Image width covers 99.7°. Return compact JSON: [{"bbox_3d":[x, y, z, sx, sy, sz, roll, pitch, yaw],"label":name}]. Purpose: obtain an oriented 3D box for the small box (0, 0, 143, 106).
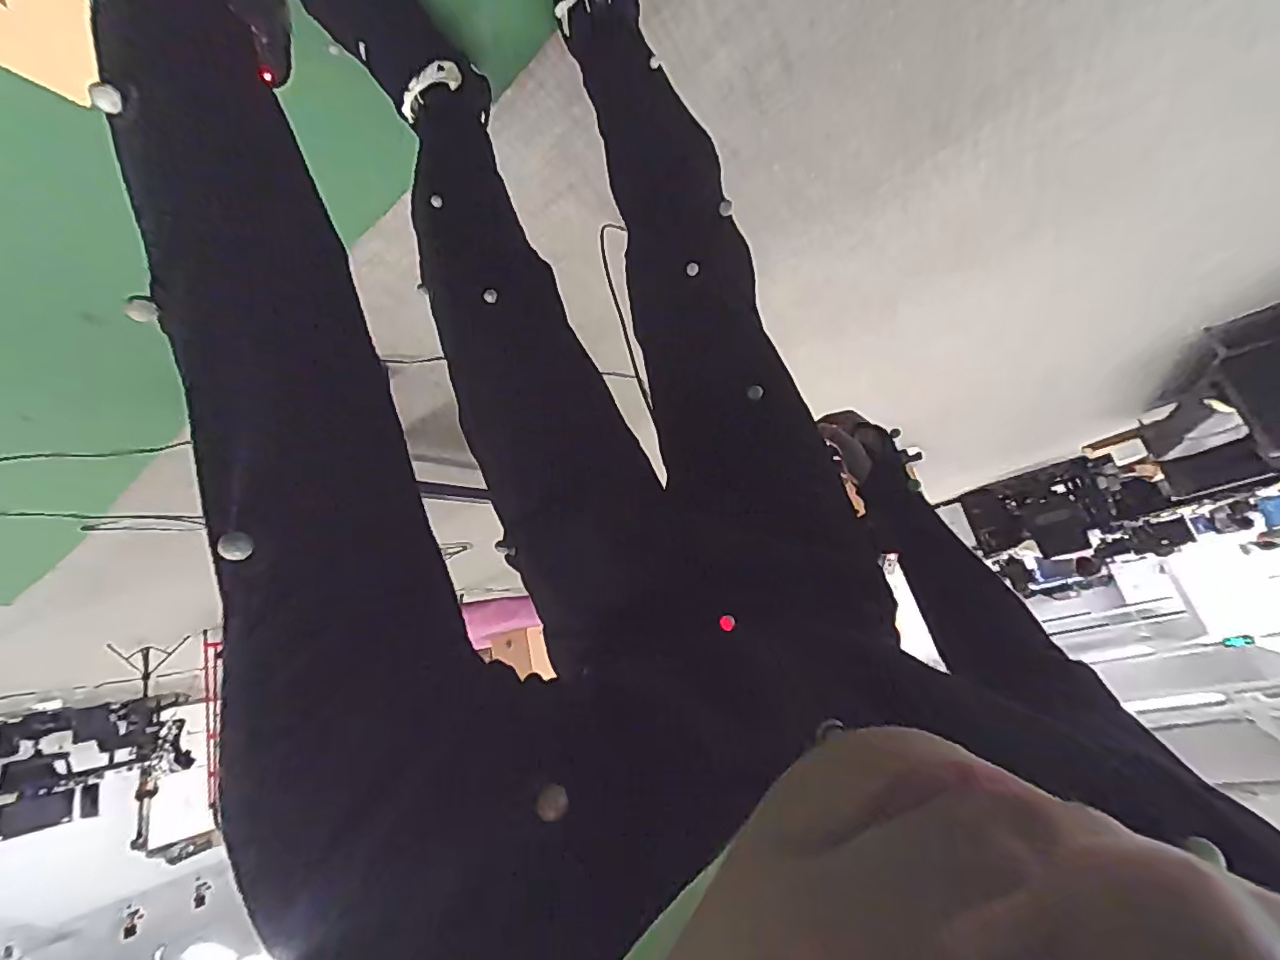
[{"bbox_3d":[-0.631,-0.547,0.543,0.168,0.176,0.179,-24,159,32],"label":"small box"}]
